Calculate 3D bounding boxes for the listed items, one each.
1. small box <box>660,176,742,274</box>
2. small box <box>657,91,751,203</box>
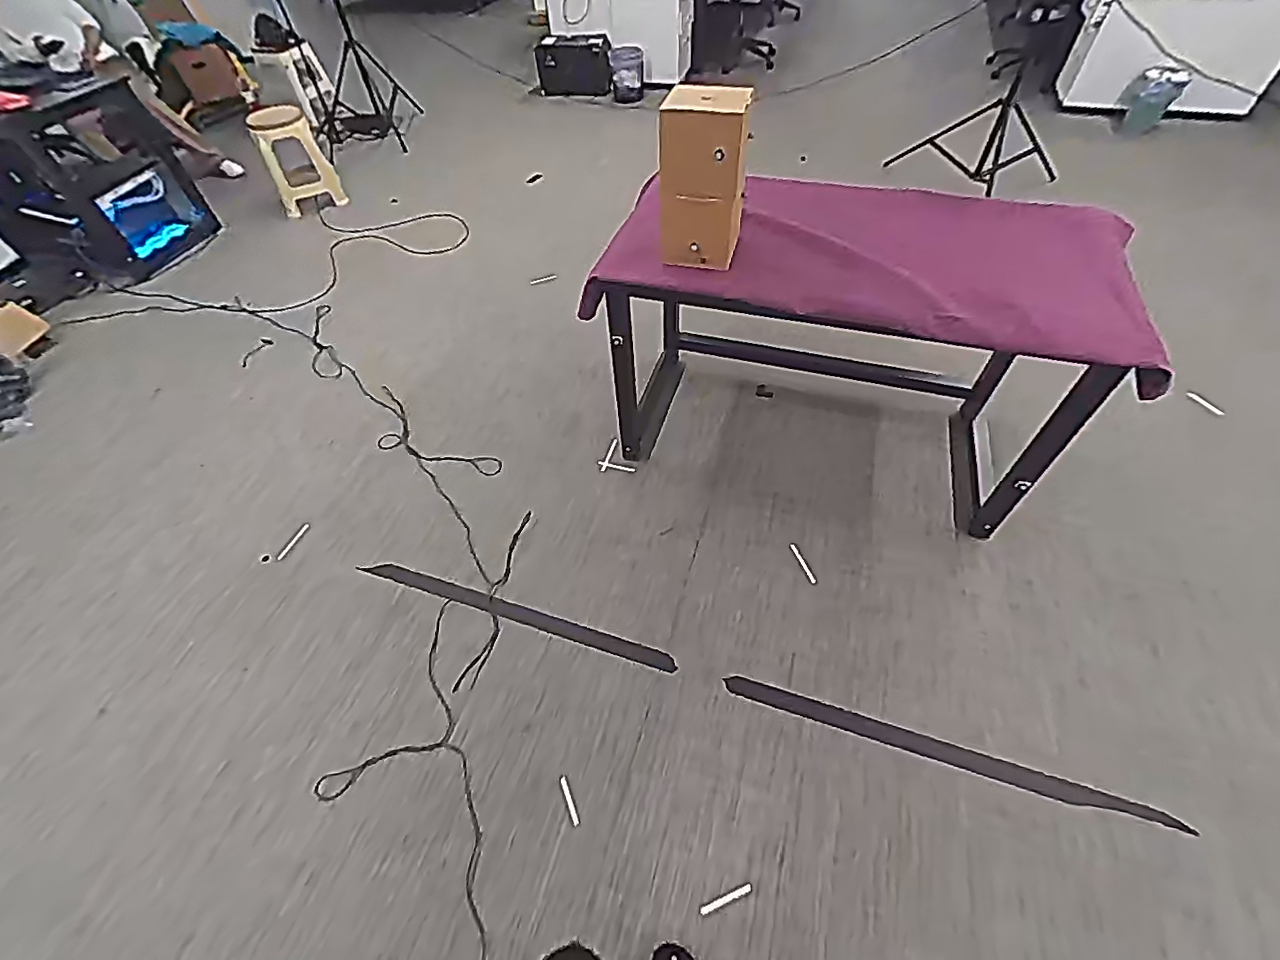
[{"bbox_3d":[0.148,-0.632,1.324,0.168,0.176,0.179,10,53,12],"label":"small box"},{"bbox_3d":[0.140,-0.735,1.198,0.179,0.176,0.168,9,51,11],"label":"small box"}]
